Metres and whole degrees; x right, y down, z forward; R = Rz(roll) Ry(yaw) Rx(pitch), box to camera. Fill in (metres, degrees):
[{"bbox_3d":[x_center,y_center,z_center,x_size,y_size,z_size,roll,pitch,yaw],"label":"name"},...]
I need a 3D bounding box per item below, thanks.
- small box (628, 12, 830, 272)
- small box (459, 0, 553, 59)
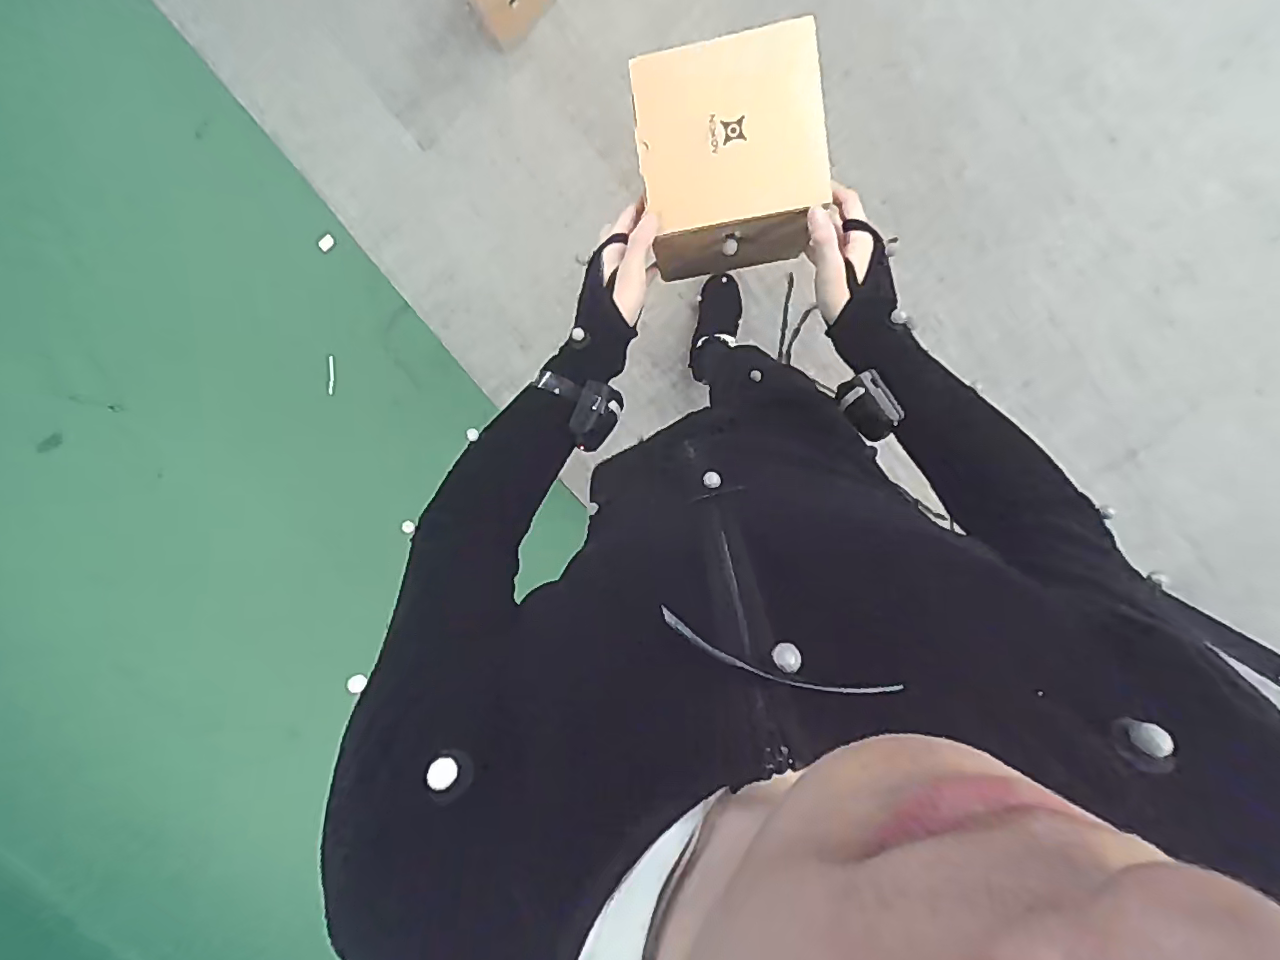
[{"bbox_3d":[0.094,-0.344,0.589,0.179,0.176,0.168,-7,94,9],"label":"small box"},{"bbox_3d":[-0.333,-1.156,1.274,0.179,0.176,0.168,-38,99,13],"label":"small box"}]
